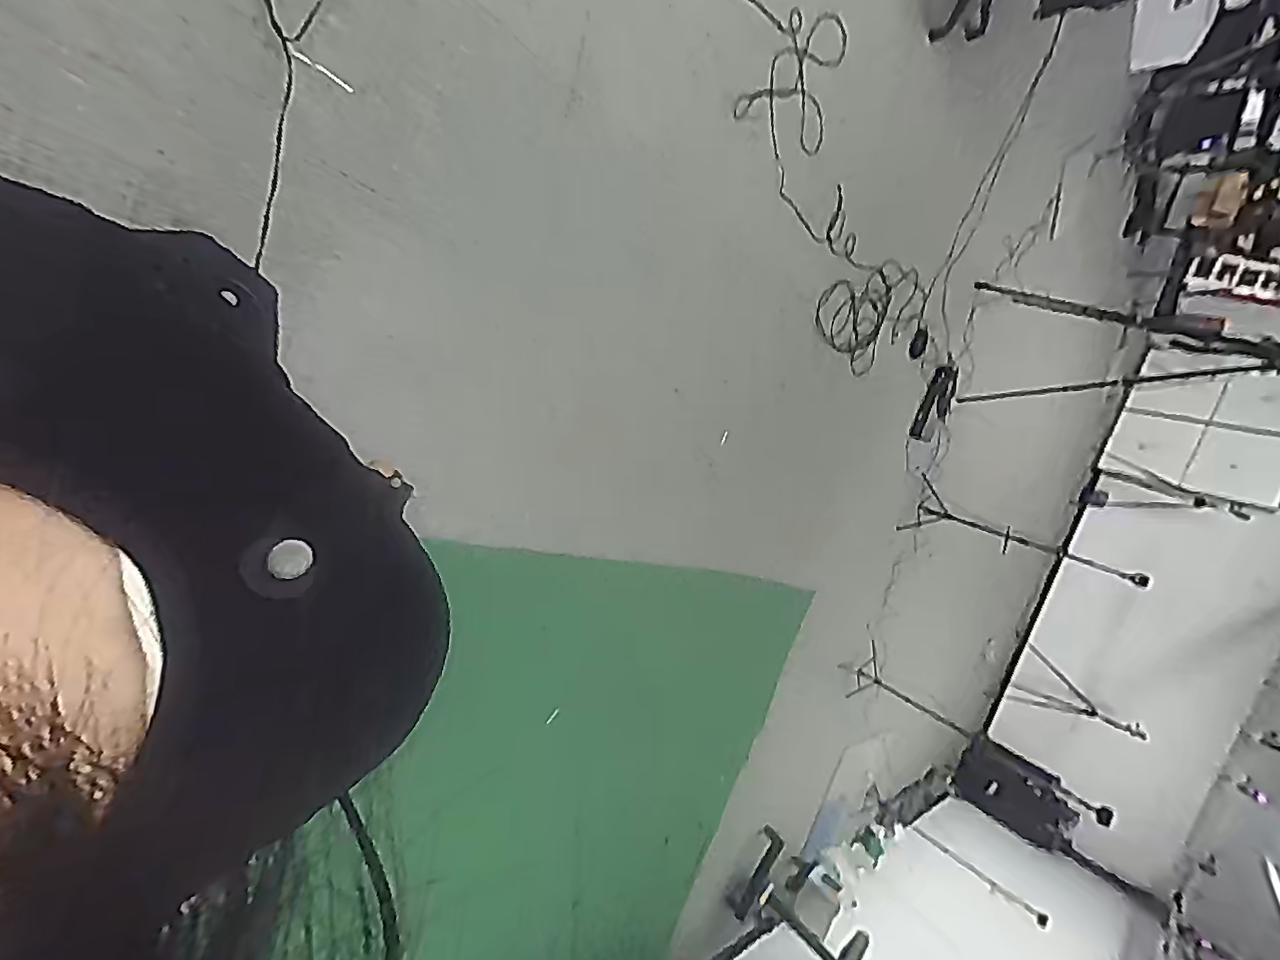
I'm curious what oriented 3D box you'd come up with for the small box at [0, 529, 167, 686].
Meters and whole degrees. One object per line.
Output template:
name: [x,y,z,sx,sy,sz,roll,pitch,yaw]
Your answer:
small box: [-0.834,0.183,0.797,0.179,0.176,0.168,18,95,-44]
